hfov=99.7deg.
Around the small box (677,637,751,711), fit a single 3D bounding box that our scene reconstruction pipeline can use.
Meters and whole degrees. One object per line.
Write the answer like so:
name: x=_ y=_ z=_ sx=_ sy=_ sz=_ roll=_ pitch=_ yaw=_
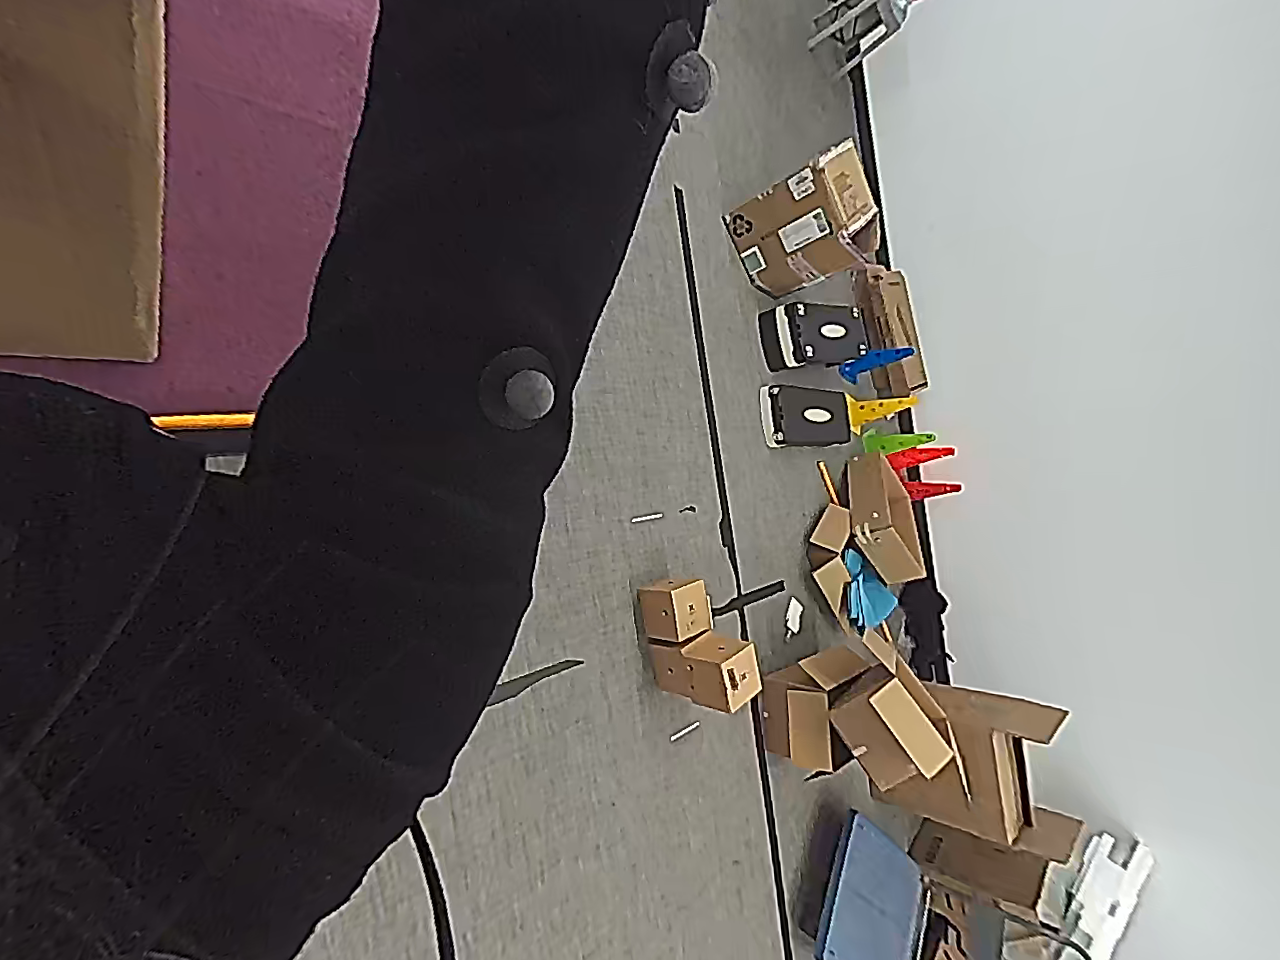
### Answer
small box: x=0.239 y=0.634 z=1.787 sx=0.179 sy=0.176 sz=0.168 roll=-15 pitch=95 yaw=-44
